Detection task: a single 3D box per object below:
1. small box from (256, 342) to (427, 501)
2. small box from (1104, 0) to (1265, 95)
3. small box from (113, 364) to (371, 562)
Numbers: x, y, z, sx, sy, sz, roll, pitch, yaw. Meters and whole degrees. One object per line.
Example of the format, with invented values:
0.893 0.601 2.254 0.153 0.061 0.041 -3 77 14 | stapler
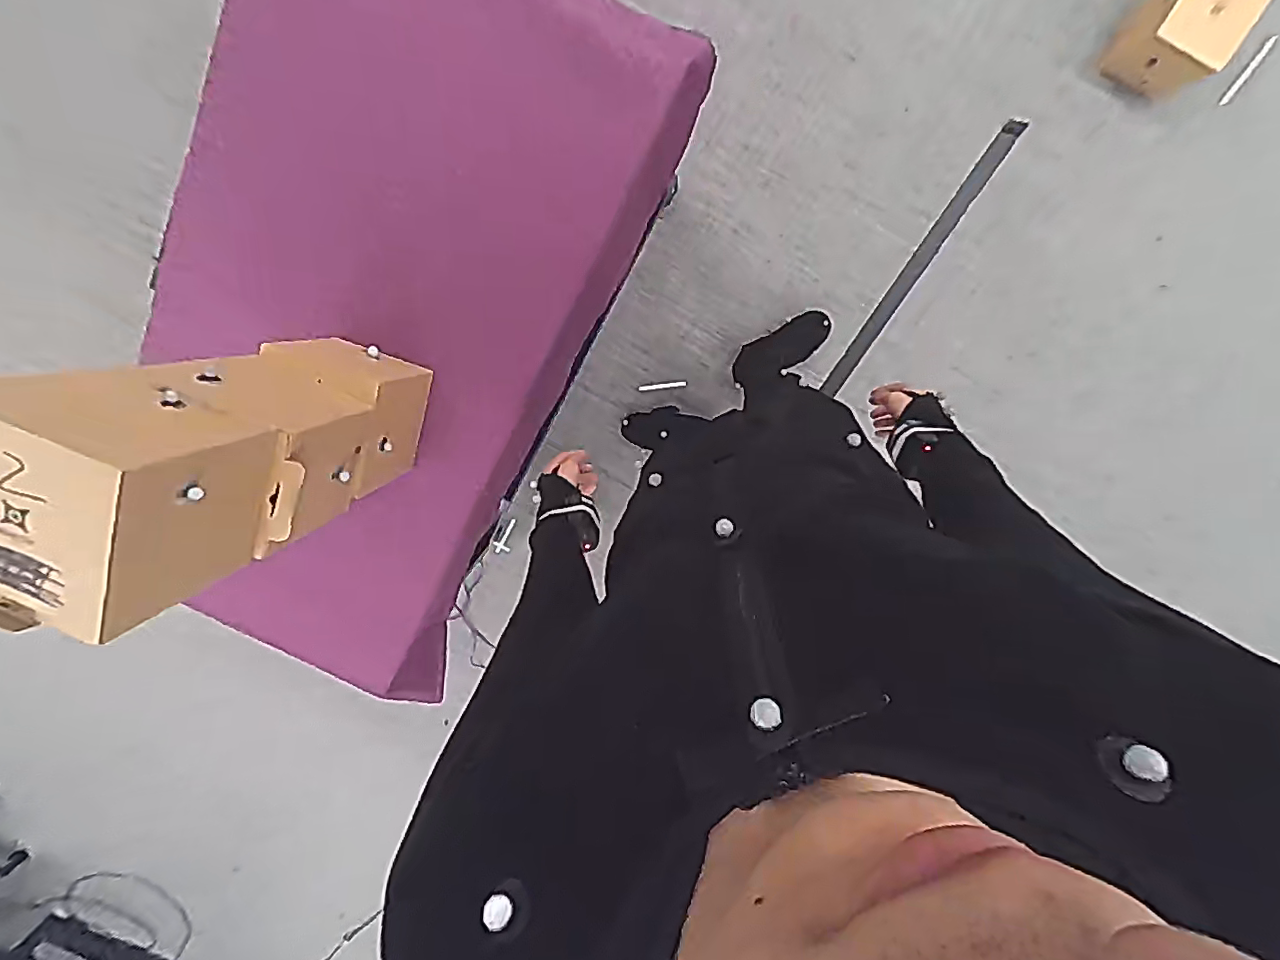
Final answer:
-0.444 -0.096 0.812 0.168 0.176 0.179 19 107 -2 | small box
1.178 -0.991 1.181 0.168 0.176 0.179 26 107 -4 | small box
-0.472 -0.033 0.661 0.179 0.176 0.168 24 108 -3 | small box
